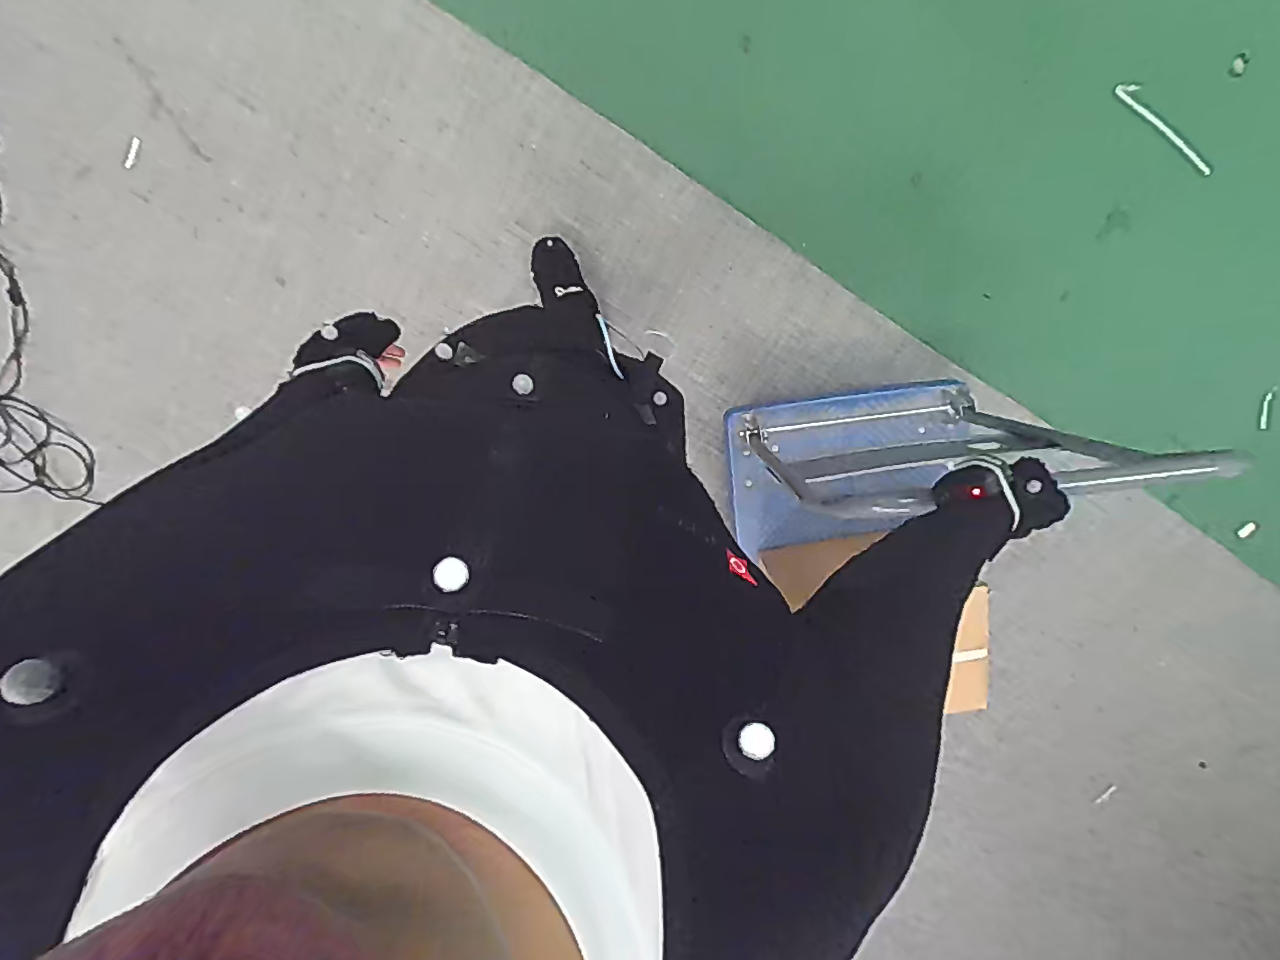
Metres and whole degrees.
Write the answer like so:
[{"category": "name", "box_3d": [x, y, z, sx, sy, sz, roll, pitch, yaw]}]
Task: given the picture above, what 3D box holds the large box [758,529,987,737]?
[{"category": "large box", "box_3d": [0.529, 0.345, 1.287, 0.408, 0.320, 0.320, -11, 109, 2]}]
